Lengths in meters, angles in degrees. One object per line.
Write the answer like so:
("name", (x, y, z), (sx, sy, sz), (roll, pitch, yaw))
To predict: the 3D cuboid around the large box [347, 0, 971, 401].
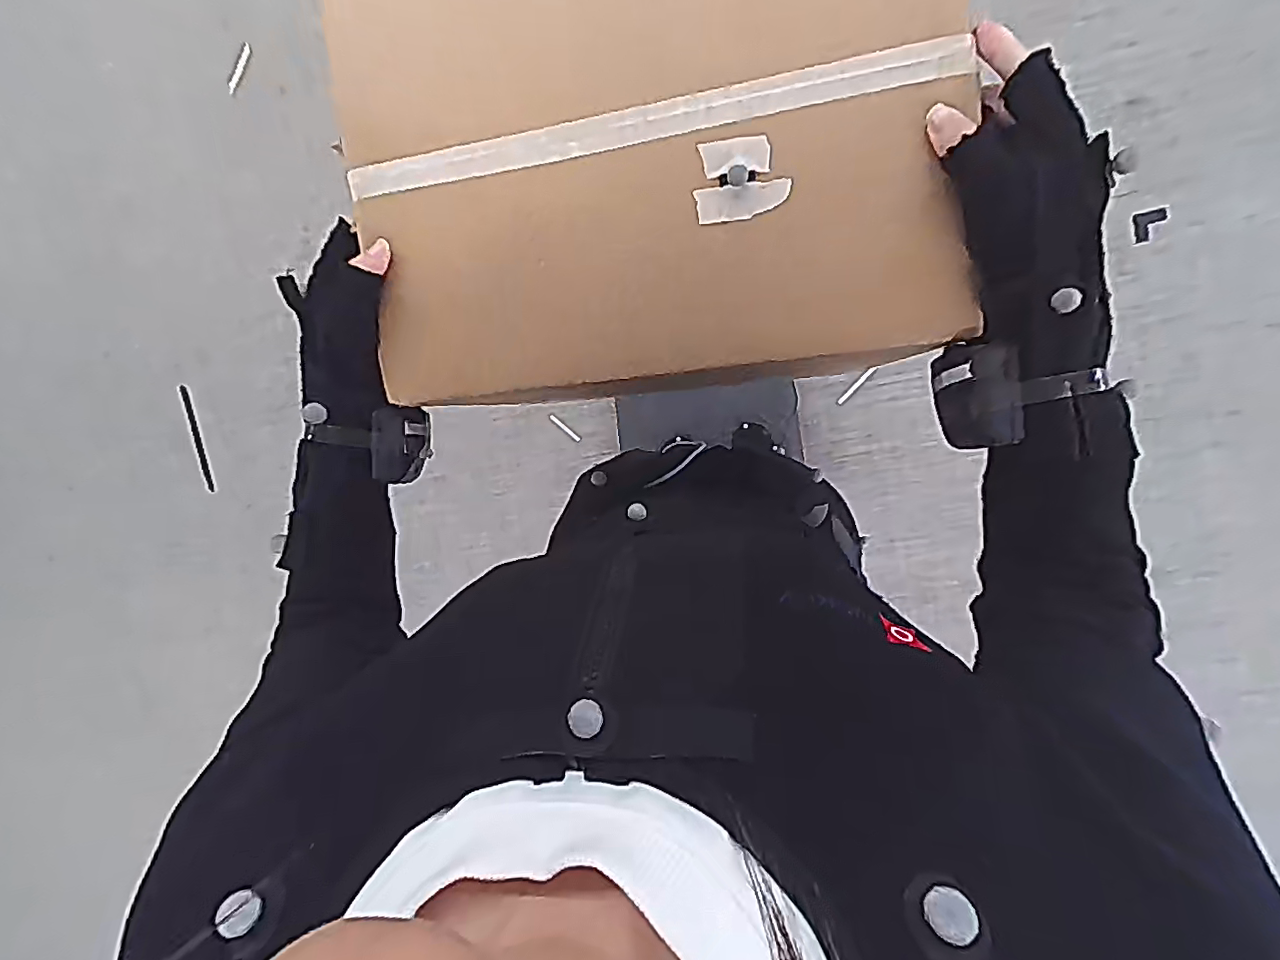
("large box", (0.023, -0.252, 0.507), (0.408, 0.320, 0.320), (-5, 98, 11))
